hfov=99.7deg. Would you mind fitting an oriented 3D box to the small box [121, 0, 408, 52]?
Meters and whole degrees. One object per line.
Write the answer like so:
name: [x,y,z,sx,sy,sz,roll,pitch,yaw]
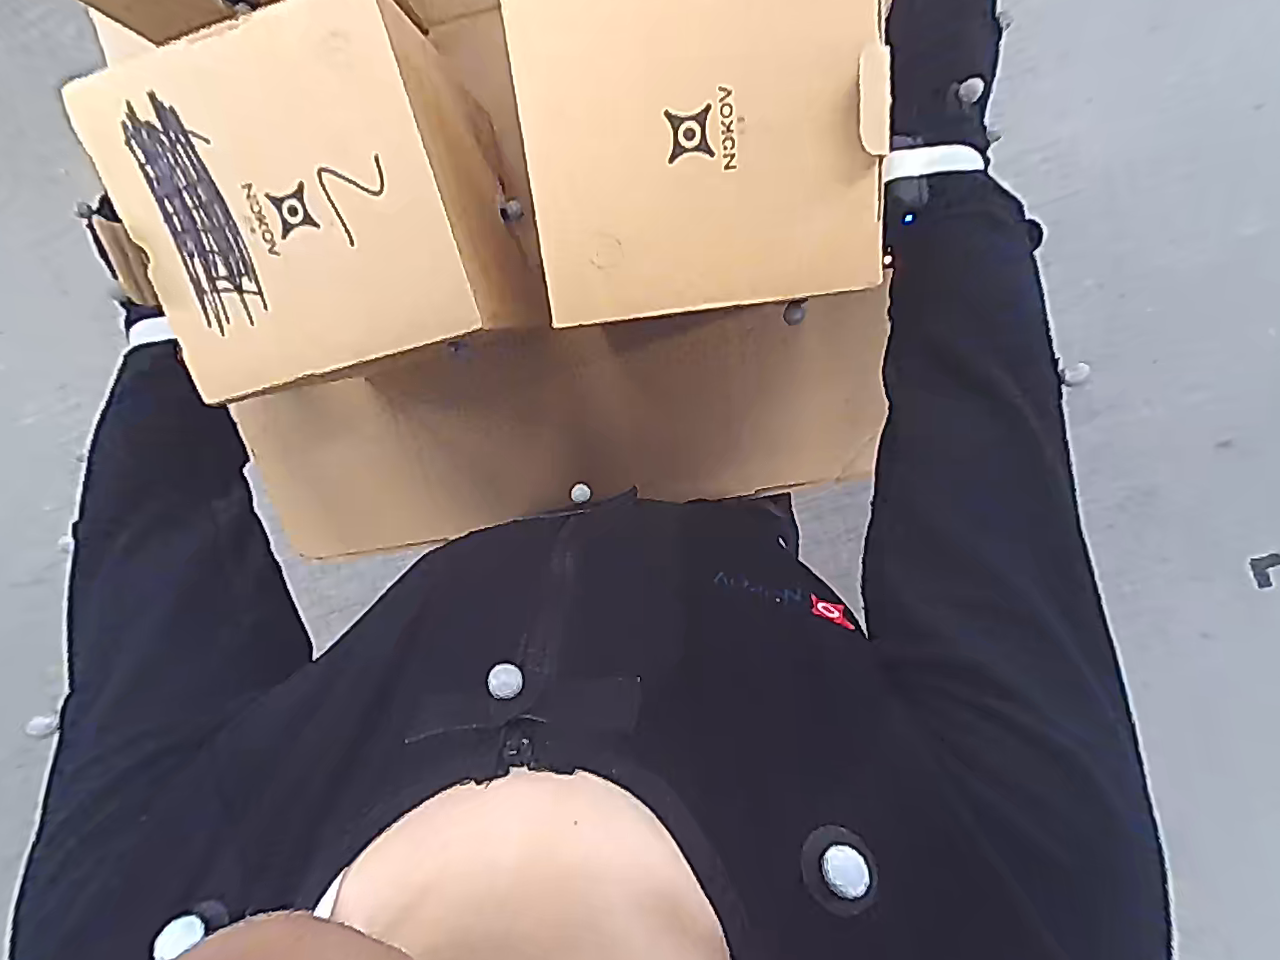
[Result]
small box: [-0.261,-0.389,0.308,0.168,0.176,0.179,-11,102,7]
